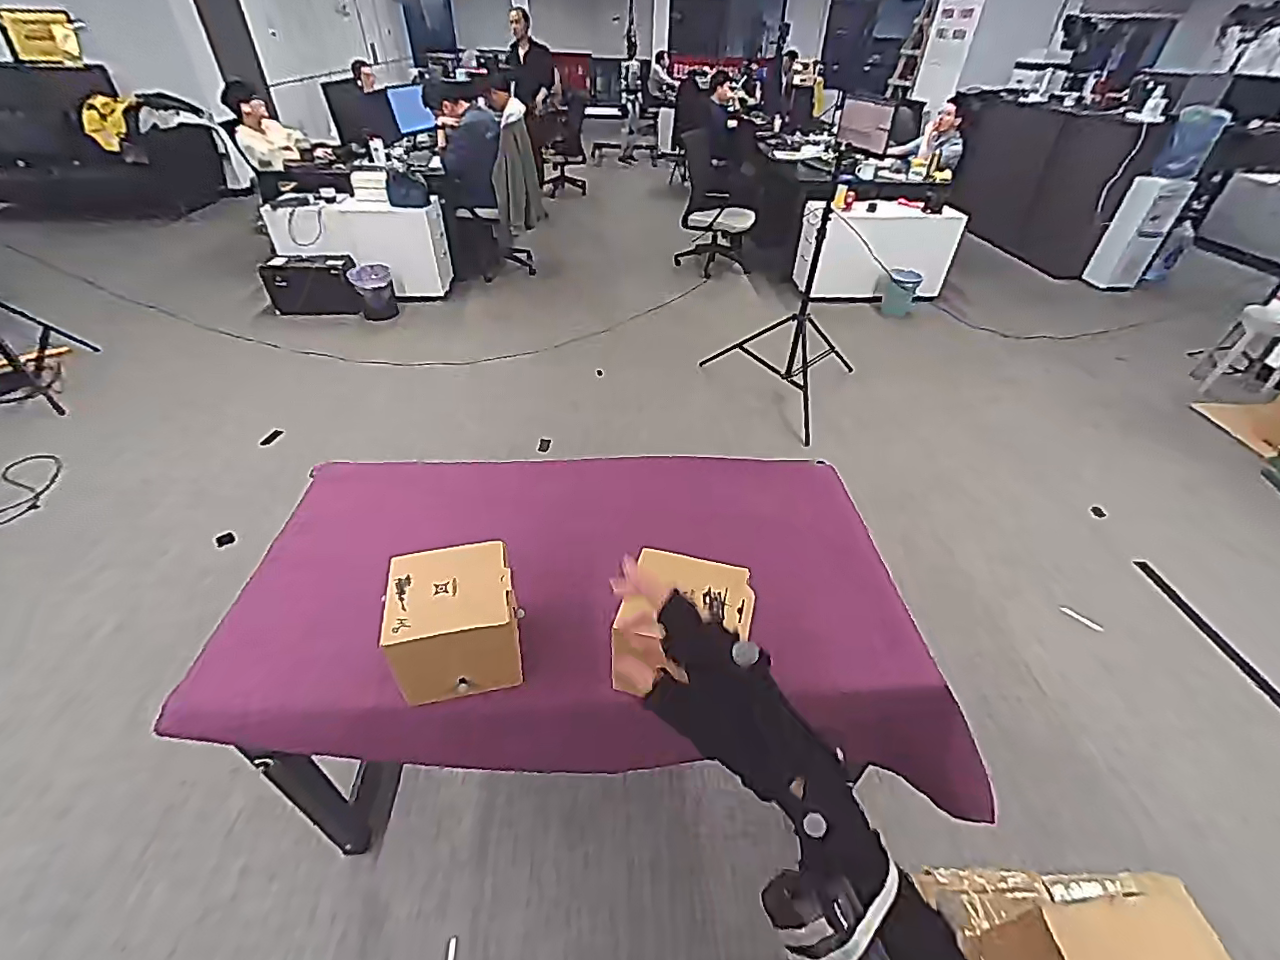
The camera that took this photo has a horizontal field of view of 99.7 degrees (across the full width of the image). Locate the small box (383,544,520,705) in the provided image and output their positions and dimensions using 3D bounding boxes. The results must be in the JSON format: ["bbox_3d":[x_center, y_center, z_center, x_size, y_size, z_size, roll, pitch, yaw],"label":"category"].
[{"bbox_3d":[-0.286,0.228,0.858,0.179,0.176,0.168,-7,40,-12],"label":"small box"}]

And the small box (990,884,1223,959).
[{"bbox_3d":[0.544,0.592,0.610,0.168,0.176,0.179,-5,41,-3],"label":"small box"}]

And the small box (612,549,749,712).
[{"bbox_3d":[0.065,0.239,0.857,0.179,0.176,0.168,11,40,12],"label":"small box"}]
